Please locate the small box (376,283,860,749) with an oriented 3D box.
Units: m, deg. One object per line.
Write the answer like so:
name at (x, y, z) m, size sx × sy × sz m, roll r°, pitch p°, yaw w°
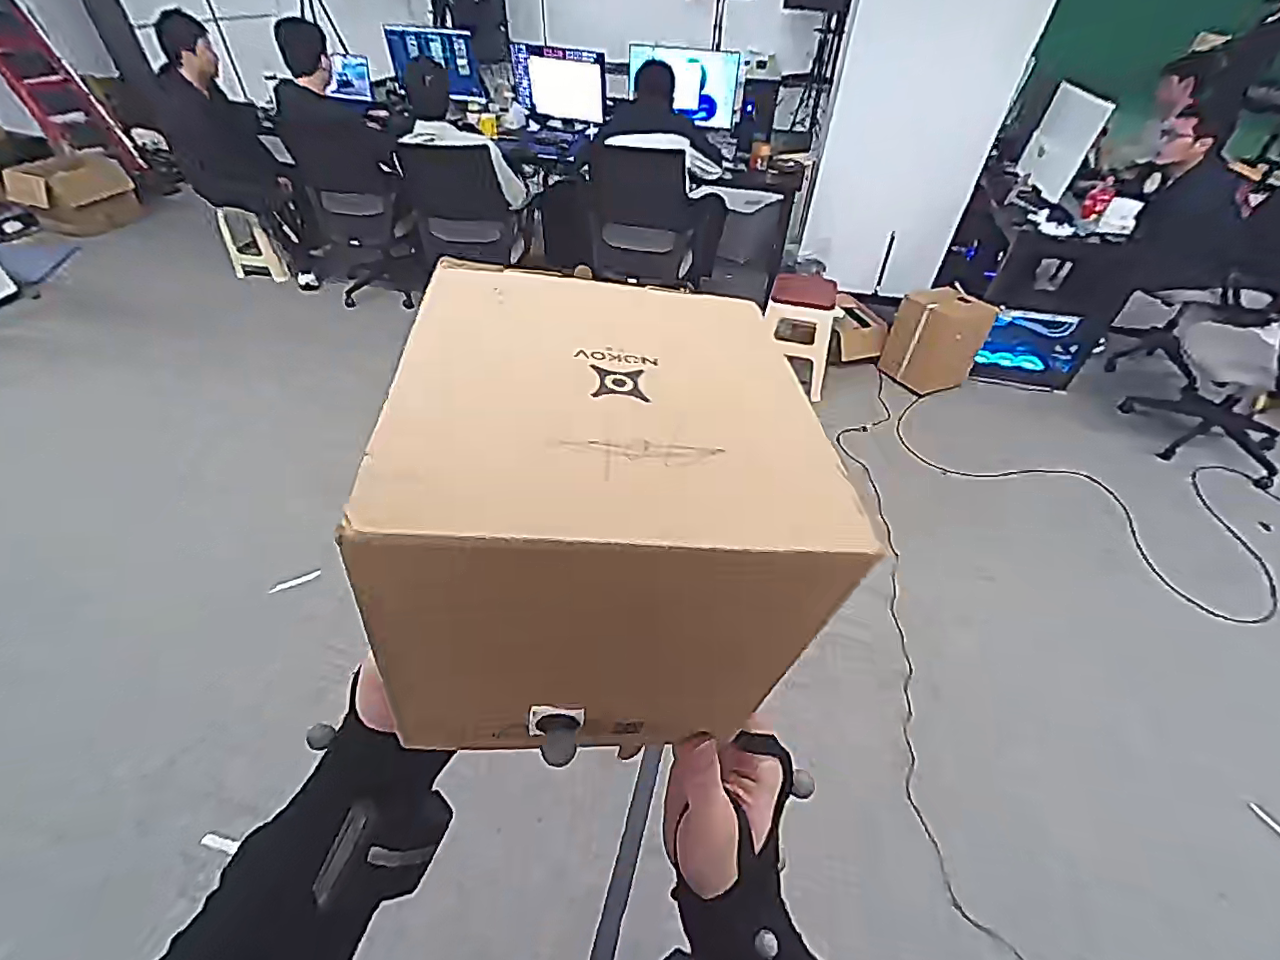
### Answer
small box at (-0.023, 0.020, 0.290) m, size 0.168 × 0.176 × 0.179 m, roll 2°, pitch 44°, yaw -11°
